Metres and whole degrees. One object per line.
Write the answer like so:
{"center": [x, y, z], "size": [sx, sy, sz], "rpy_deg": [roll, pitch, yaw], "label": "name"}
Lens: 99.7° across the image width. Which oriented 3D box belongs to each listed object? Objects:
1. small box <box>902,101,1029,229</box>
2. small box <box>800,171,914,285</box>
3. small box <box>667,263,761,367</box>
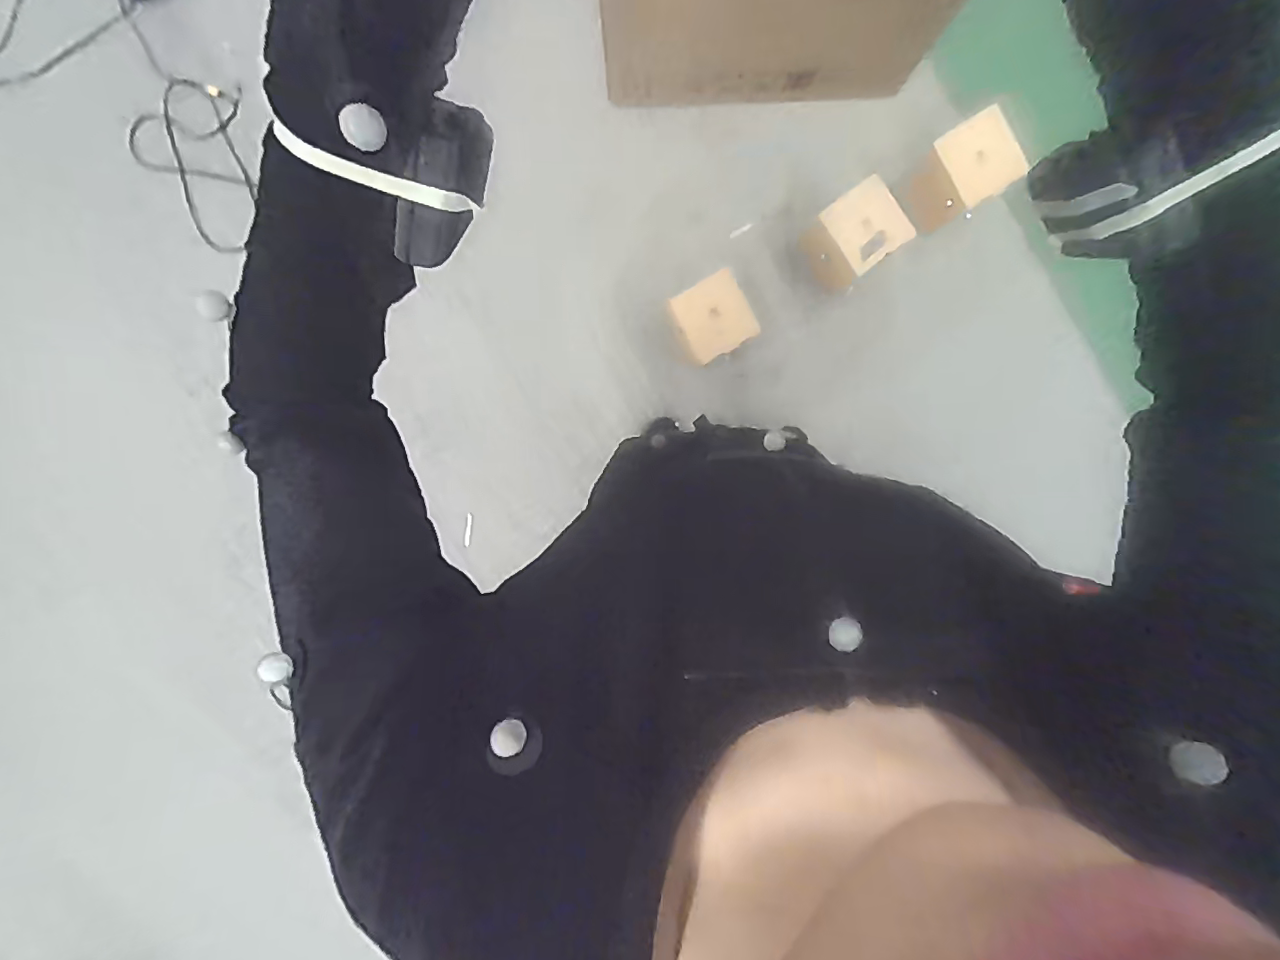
{"center": [0.774, -0.750, 1.309], "size": [0.168, 0.176, 0.179], "rpy_deg": [-32, 94, 4], "label": "small box"}
{"center": [0.522, -0.602, 1.326], "size": [0.168, 0.176, 0.179], "rpy_deg": [-36, 92, 4], "label": "small box"}
{"center": [0.175, -0.400, 1.349], "size": [0.168, 0.176, 0.179], "rpy_deg": [-30, 94, 5], "label": "small box"}
